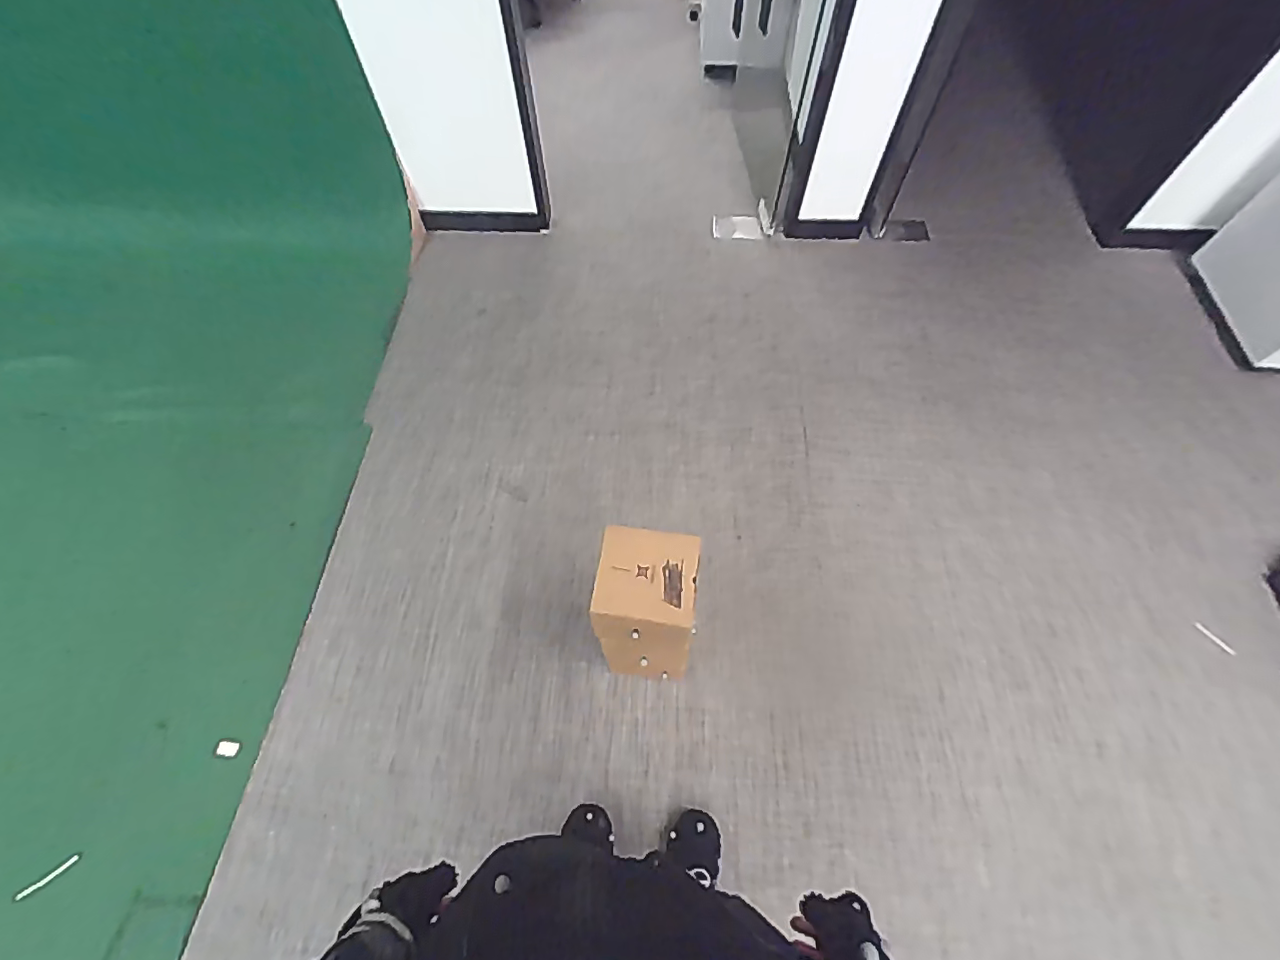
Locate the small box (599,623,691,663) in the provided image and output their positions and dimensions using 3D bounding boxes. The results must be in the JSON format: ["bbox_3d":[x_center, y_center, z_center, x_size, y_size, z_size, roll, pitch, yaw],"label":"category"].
[{"bbox_3d":[0.016,0.284,1.152,0.179,0.176,0.168,7,61,4],"label":"small box"}]

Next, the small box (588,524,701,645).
[{"bbox_3d":[0.012,0.201,1.009,0.179,0.176,0.168,8,61,7],"label":"small box"}]

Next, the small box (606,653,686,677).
[{"bbox_3d":[0.020,0.368,1.293,0.179,0.176,0.168,4,60,4],"label":"small box"}]
